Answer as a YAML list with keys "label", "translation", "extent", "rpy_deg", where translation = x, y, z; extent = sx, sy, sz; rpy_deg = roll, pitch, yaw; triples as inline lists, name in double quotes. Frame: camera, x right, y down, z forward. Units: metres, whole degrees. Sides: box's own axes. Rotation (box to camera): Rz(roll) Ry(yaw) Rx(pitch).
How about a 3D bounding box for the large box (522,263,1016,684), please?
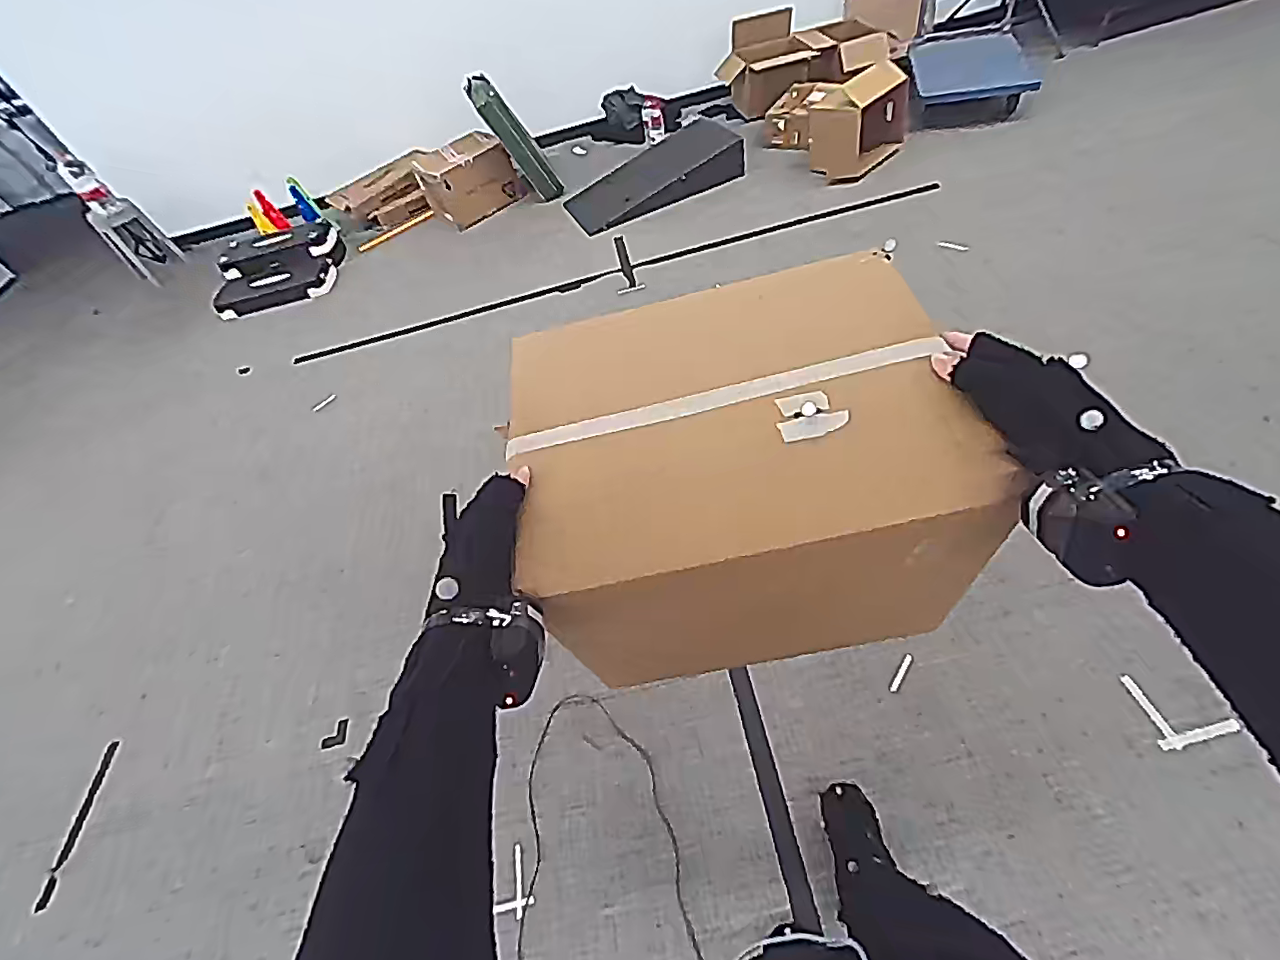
- label: "large box"
  translation: [0.106, 0.012, 0.635]
  extent: [0.408, 0.320, 0.320]
  rpy_deg: [-13, 55, 4]
